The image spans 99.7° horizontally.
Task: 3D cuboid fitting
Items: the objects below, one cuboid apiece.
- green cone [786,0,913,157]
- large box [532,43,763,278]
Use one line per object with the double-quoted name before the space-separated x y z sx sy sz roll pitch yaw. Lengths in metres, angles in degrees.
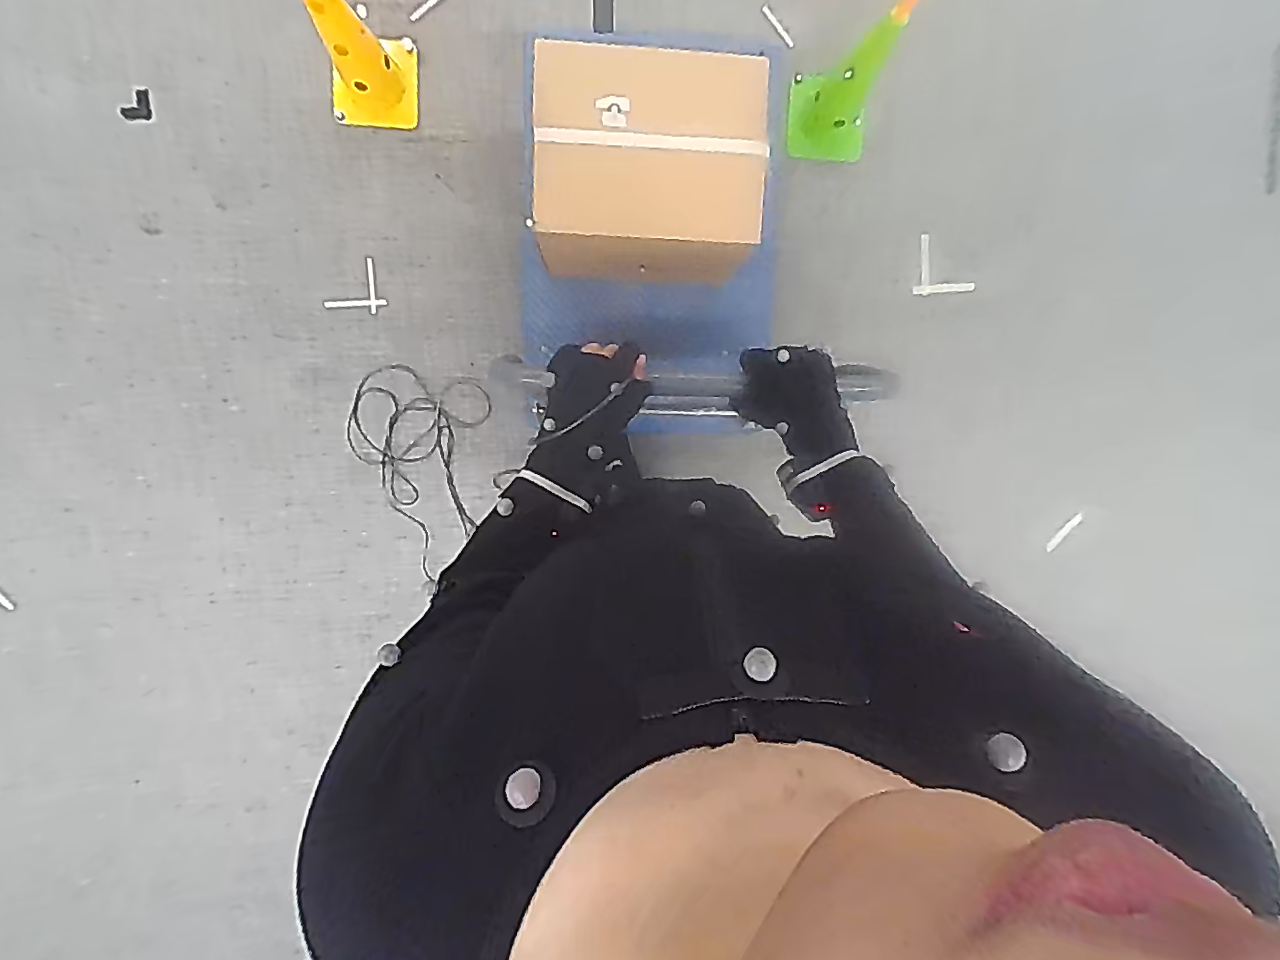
"green cone" 0.493 -0.930 1.229 0.202 0.368 0.200 2 96 -5
"large box" 0.007 -0.602 1.085 0.408 0.320 0.320 1 96 -3
